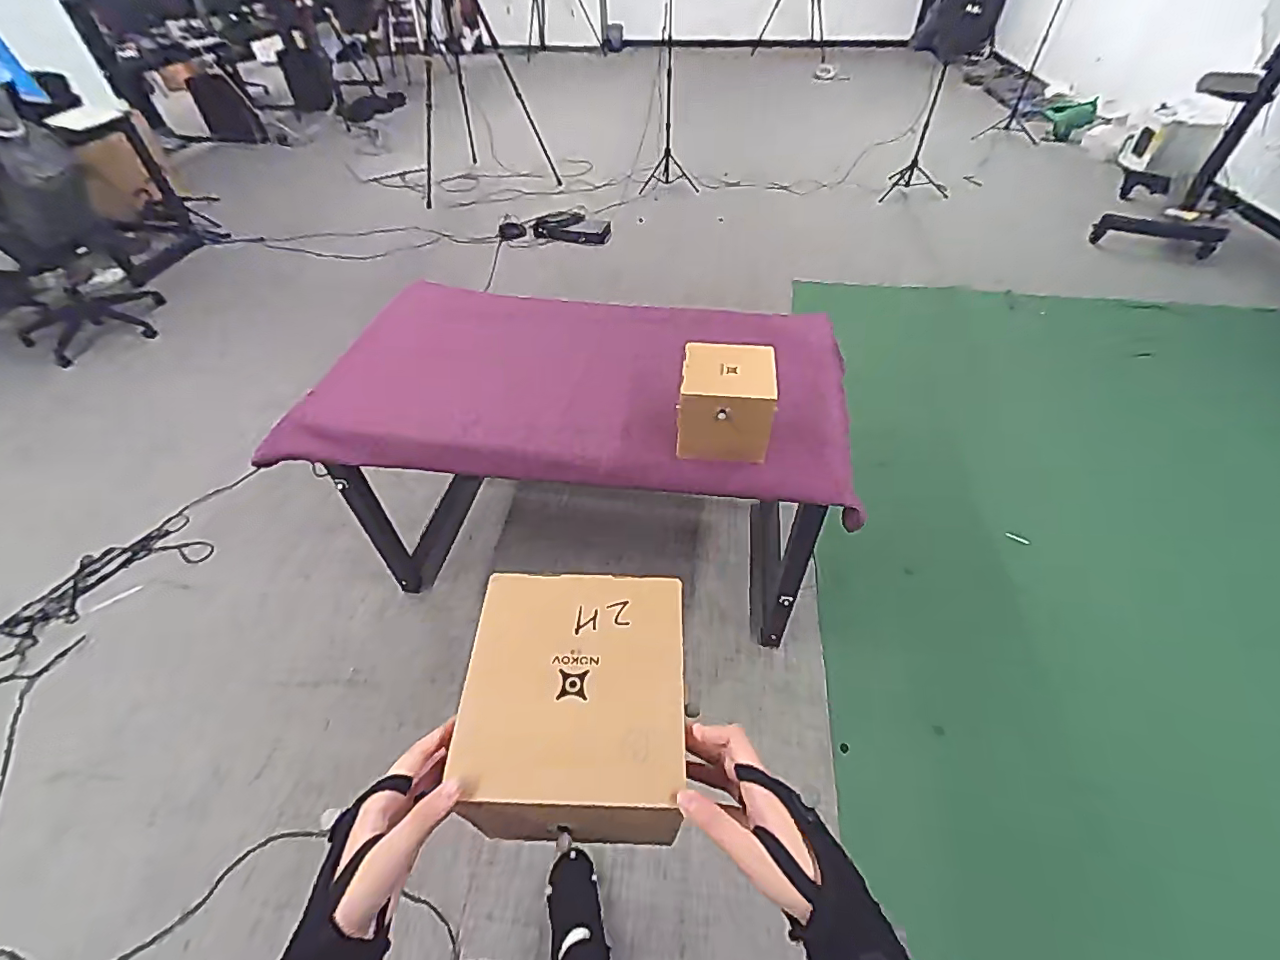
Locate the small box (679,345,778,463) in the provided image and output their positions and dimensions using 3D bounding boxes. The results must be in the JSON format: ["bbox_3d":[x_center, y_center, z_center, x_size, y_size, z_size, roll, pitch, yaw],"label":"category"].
[{"bbox_3d":[0.173,-0.149,1.083,0.179,0.176,0.168,4,48,6],"label":"small box"}]
